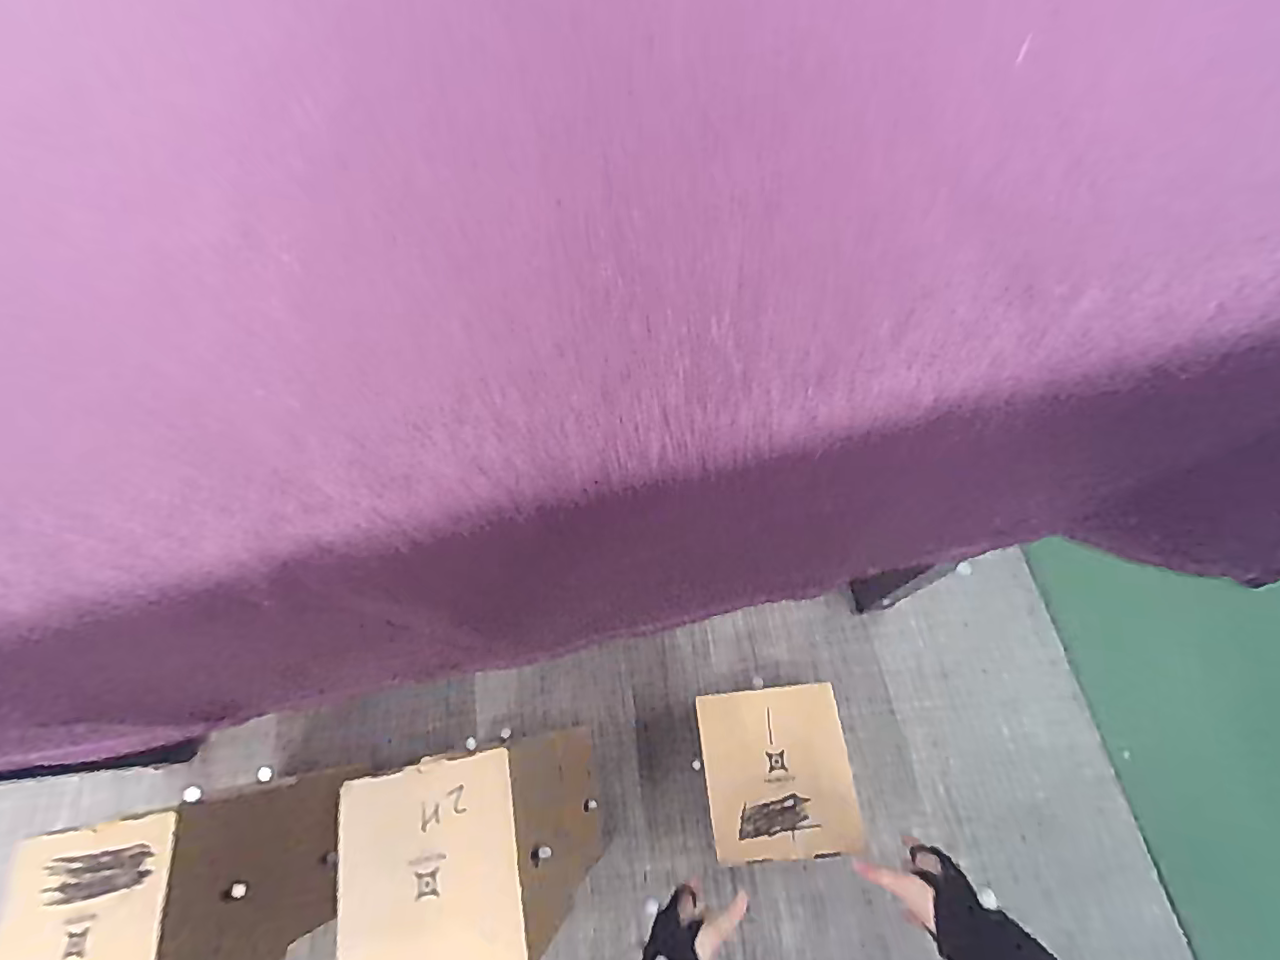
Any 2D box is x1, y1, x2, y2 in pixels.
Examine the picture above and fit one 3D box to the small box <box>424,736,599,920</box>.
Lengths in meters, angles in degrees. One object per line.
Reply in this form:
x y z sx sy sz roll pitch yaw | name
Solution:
-0.163 0.443 0.715 0.179 0.176 0.168 -12 66 3 | small box
